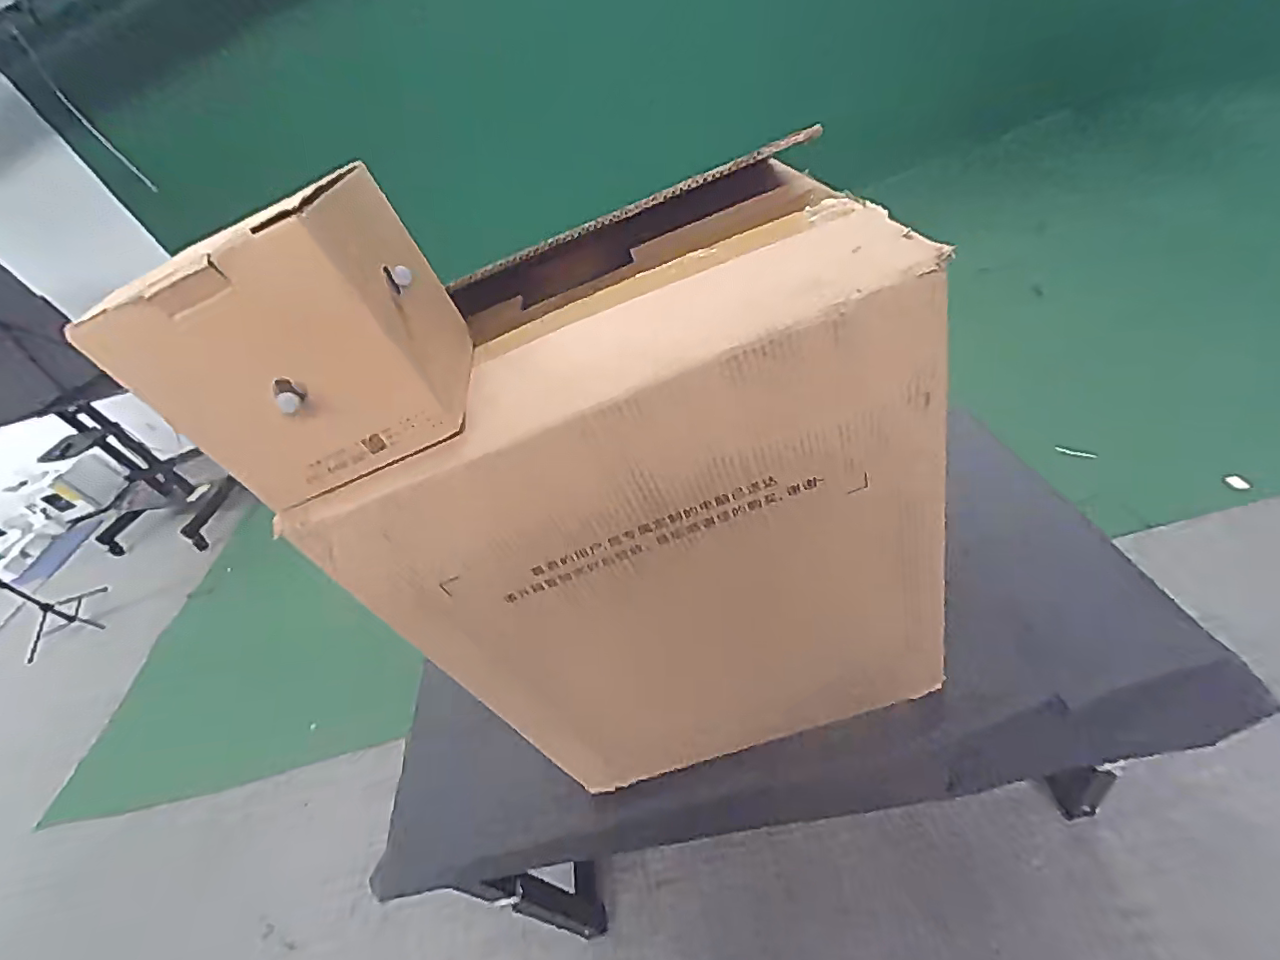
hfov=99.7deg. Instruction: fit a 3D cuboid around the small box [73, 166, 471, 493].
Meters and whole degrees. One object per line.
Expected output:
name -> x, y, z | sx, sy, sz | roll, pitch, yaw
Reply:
small box -> -0.252, -0.111, 0.429 | 0.168, 0.176, 0.179 | -23, 40, 6
